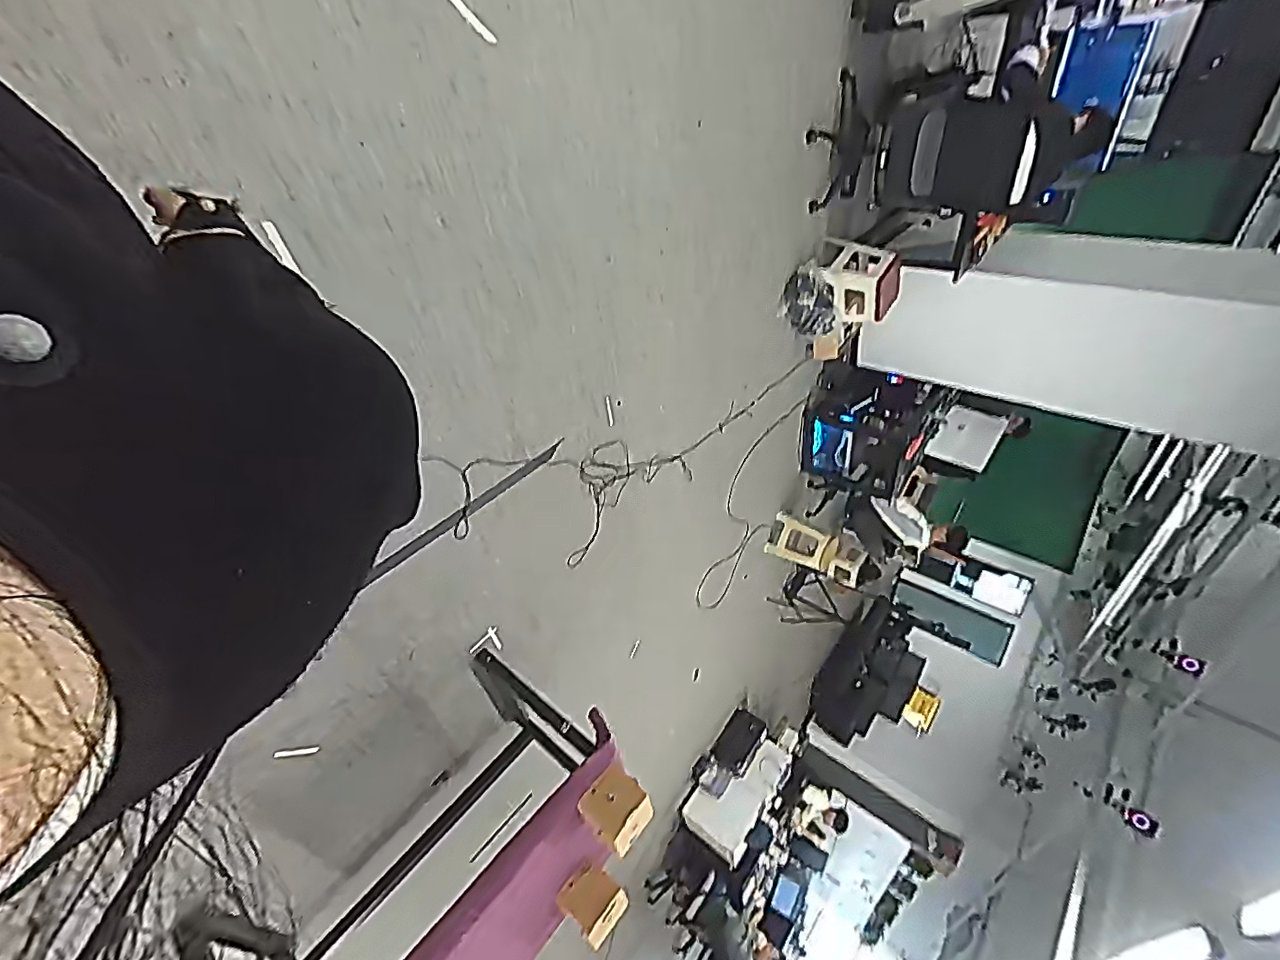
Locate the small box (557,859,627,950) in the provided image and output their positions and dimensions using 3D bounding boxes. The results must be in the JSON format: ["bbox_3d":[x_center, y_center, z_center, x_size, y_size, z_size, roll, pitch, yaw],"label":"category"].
[{"bbox_3d":[-0.170,1.479,1.895,0.168,0.176,0.179,-38,136,-34],"label":"small box"}]

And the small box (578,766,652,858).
[{"bbox_3d":[-0.083,1.081,1.775,0.168,0.176,0.179,-39,137,-33],"label":"small box"}]
